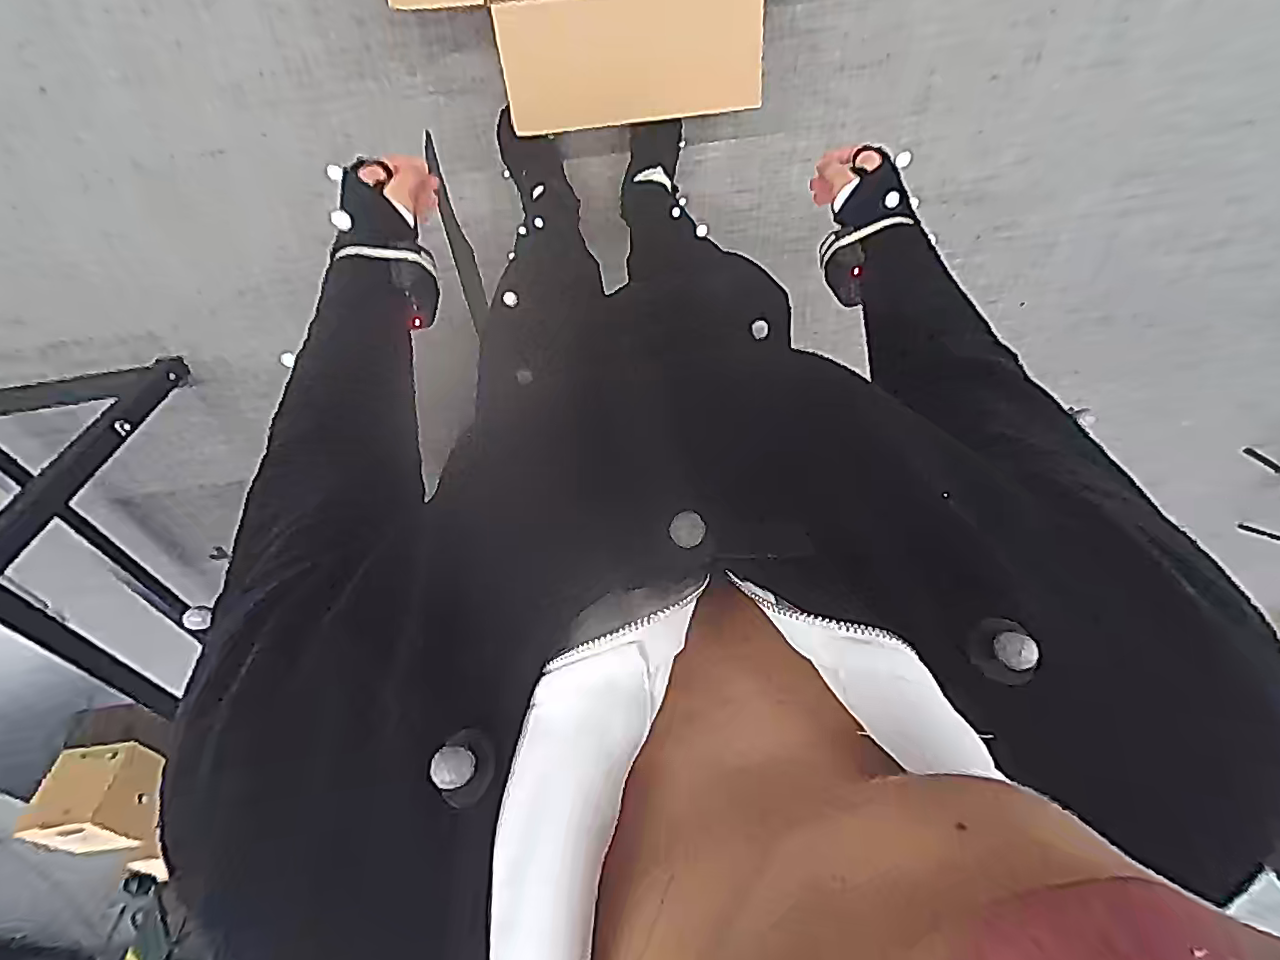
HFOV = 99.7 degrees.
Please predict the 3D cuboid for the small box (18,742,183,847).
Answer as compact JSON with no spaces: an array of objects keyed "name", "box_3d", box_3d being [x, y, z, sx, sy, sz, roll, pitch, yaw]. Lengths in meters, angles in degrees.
[{"name":"small box","box_3d":[-1.230,0.721,1.251,0.168,0.176,0.179,-7,135,0]}]
